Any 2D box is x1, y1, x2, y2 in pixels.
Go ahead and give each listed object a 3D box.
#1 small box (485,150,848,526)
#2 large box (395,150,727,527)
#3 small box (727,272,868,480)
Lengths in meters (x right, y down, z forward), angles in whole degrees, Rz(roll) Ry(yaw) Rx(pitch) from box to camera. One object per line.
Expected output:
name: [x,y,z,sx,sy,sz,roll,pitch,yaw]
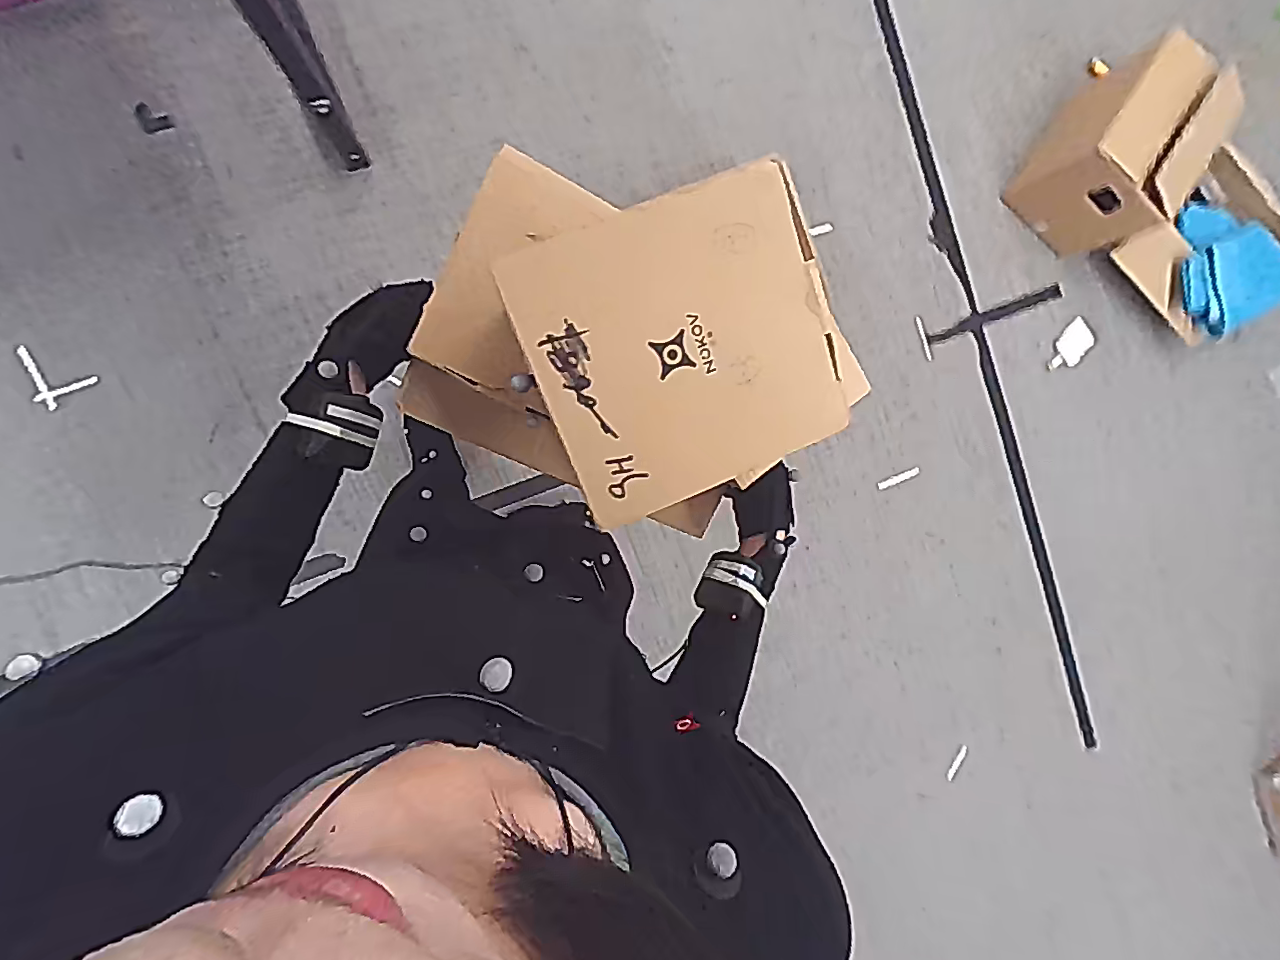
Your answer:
small box: [0.008,-0.091,0.385,0.179,0.176,0.168,-24,102,-7]
large box: [-0.071,-0.169,0.778,0.408,0.320,0.320,23,94,-15]
small box: [0.090,-0.122,0.566,0.168,0.176,0.179,-37,104,-5]
